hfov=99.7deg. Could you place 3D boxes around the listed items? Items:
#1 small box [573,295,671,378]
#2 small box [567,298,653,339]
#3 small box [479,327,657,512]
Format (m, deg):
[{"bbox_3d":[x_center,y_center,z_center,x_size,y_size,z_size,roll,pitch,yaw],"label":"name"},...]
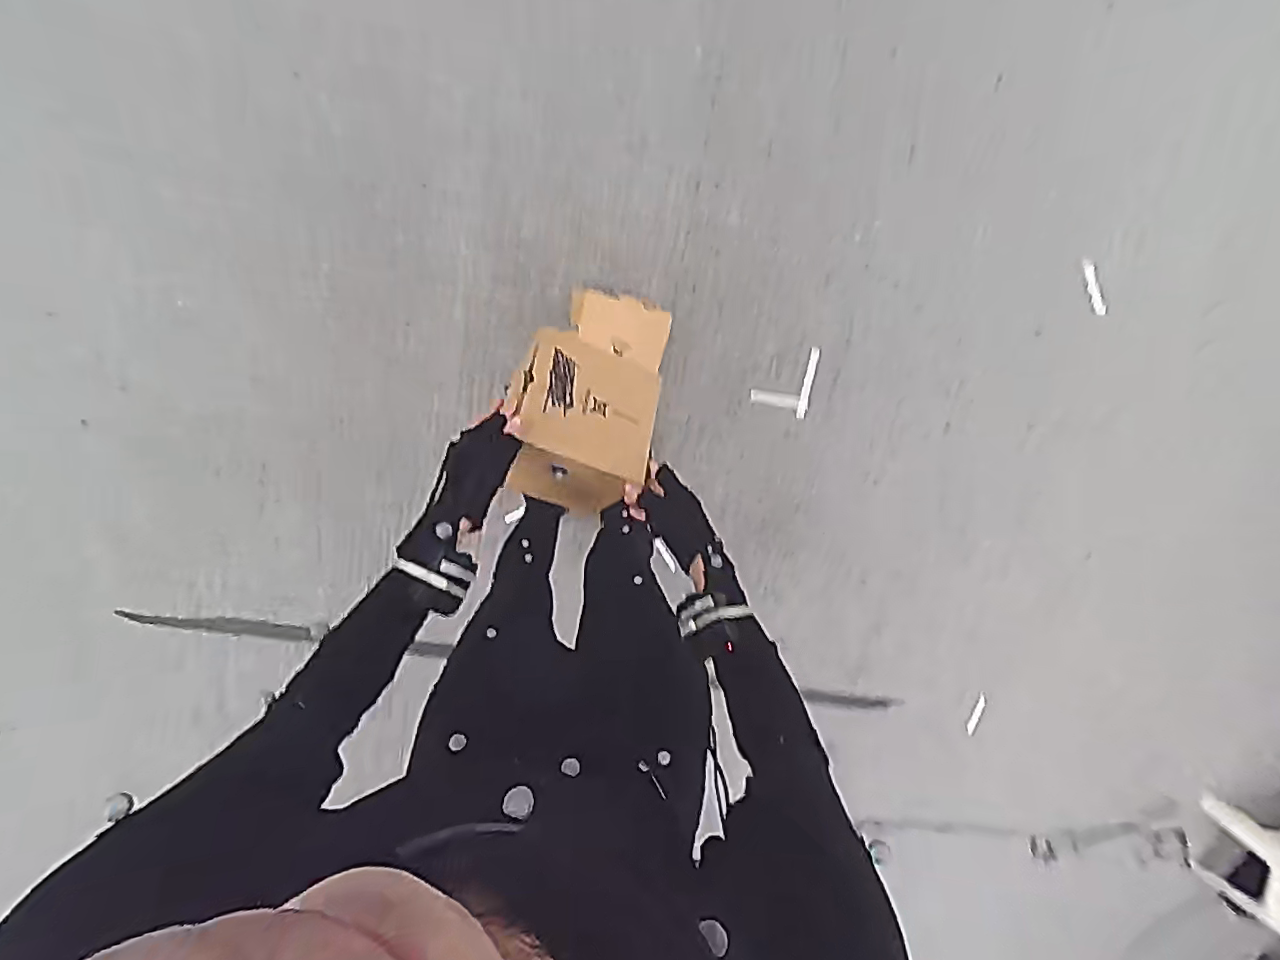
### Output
[{"bbox_3d":[-0.053,-0.254,1.082,0.168,0.176,0.179,14,102,-11],"label":"small box"},{"bbox_3d":[-0.078,-0.314,1.233,0.179,0.176,0.168,7,104,-8],"label":"small box"},{"bbox_3d":[-0.102,-0.067,0.733,0.179,0.176,0.168,21,65,-23],"label":"small box"}]
